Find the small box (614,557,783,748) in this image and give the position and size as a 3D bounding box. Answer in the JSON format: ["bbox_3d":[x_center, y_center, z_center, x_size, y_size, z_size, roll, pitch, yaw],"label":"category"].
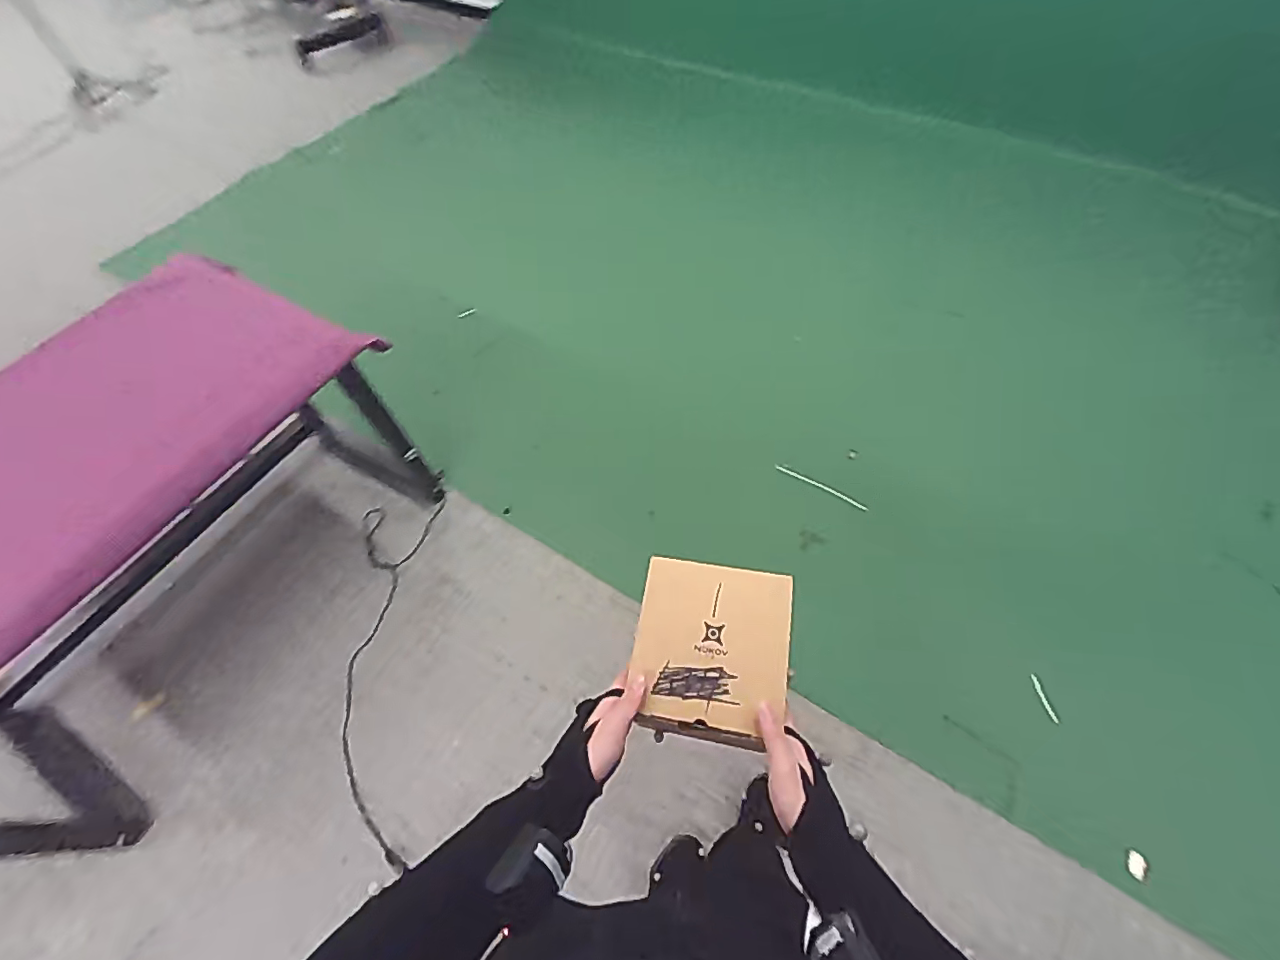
[{"bbox_3d":[0.075,0.214,0.656,0.168,0.176,0.179,7,61,10],"label":"small box"}]
